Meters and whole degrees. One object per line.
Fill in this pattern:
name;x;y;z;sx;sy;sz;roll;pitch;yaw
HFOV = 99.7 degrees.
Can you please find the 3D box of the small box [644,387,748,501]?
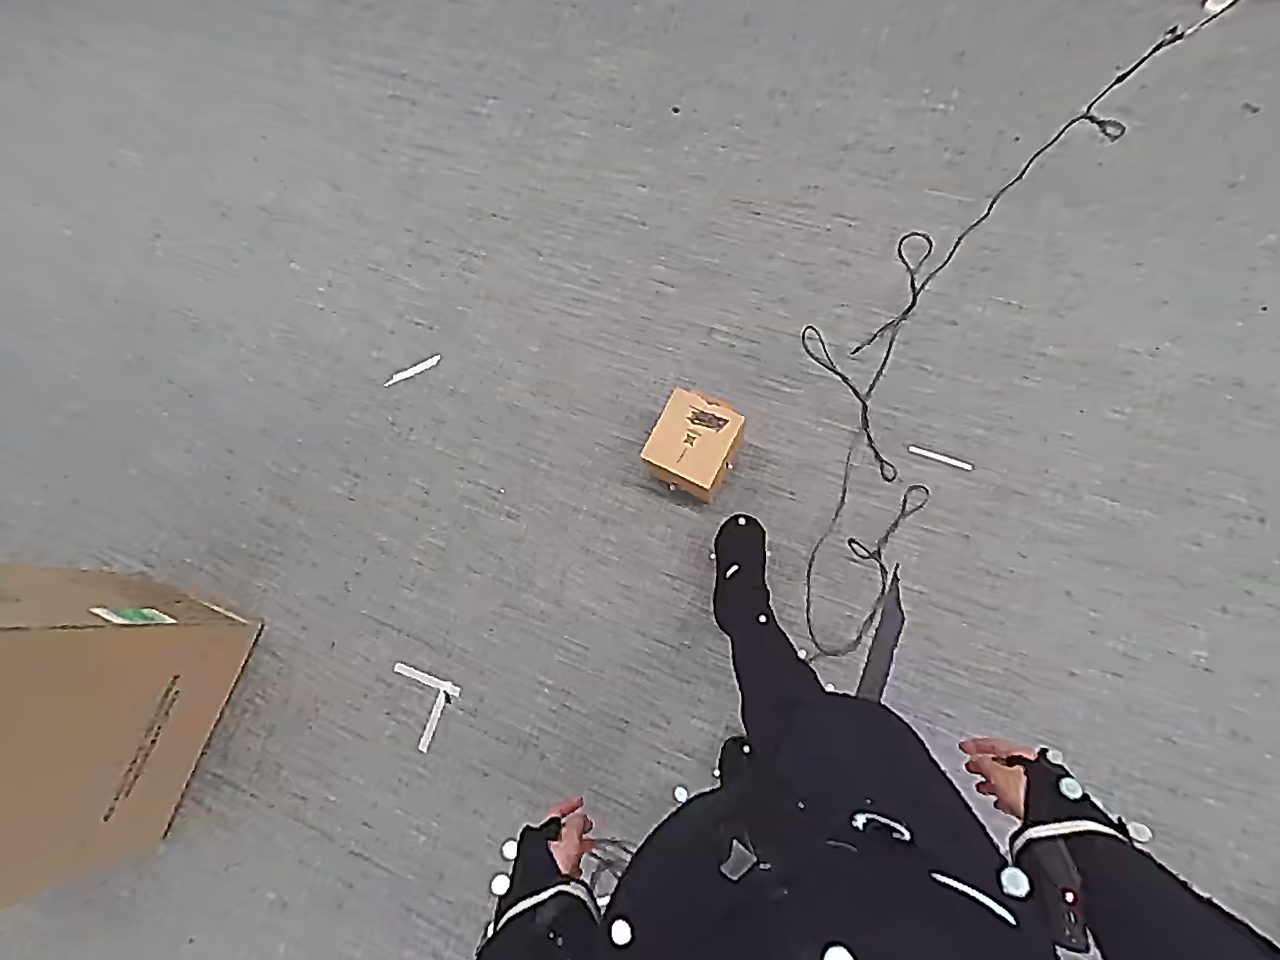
small box;0.126;-0.074;1.211;0.168;0.176;0.179;27;83;14
